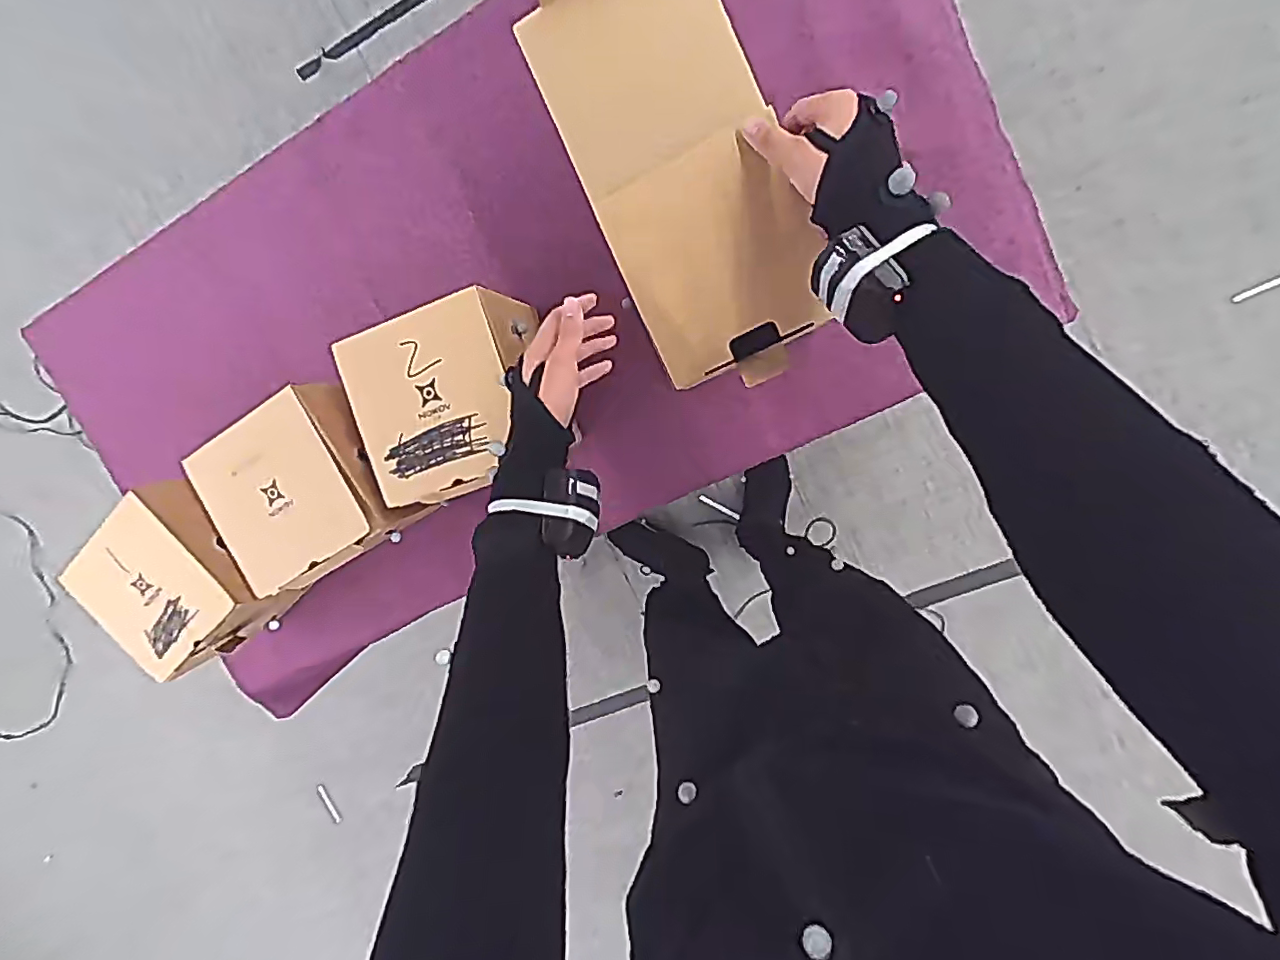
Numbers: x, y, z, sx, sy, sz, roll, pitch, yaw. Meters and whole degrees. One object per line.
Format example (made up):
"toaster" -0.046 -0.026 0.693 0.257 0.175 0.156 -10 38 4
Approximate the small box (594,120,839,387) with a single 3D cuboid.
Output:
"small box" 0.075 -0.204 0.546 0.168 0.176 0.179 -23 96 13
